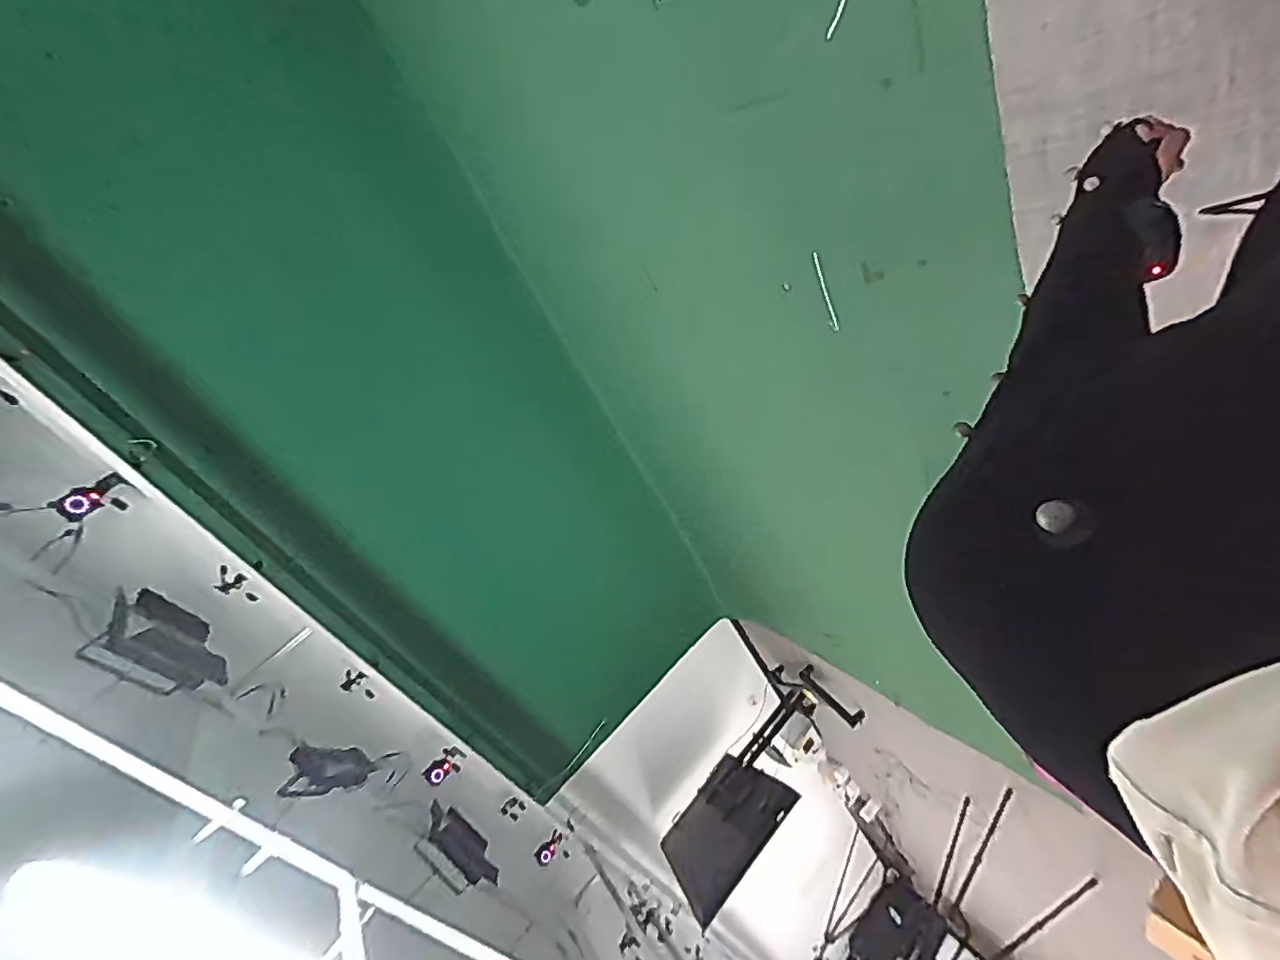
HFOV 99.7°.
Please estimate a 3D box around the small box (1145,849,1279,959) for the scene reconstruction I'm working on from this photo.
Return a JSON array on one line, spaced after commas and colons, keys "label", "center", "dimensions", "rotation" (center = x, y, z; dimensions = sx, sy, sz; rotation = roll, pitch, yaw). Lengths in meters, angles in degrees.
[{"label": "small box", "center": [1.167, 0.901, 1.095], "dimensions": [0.168, 0.176, 0.179], "rotation": [23, 149, 54]}]
